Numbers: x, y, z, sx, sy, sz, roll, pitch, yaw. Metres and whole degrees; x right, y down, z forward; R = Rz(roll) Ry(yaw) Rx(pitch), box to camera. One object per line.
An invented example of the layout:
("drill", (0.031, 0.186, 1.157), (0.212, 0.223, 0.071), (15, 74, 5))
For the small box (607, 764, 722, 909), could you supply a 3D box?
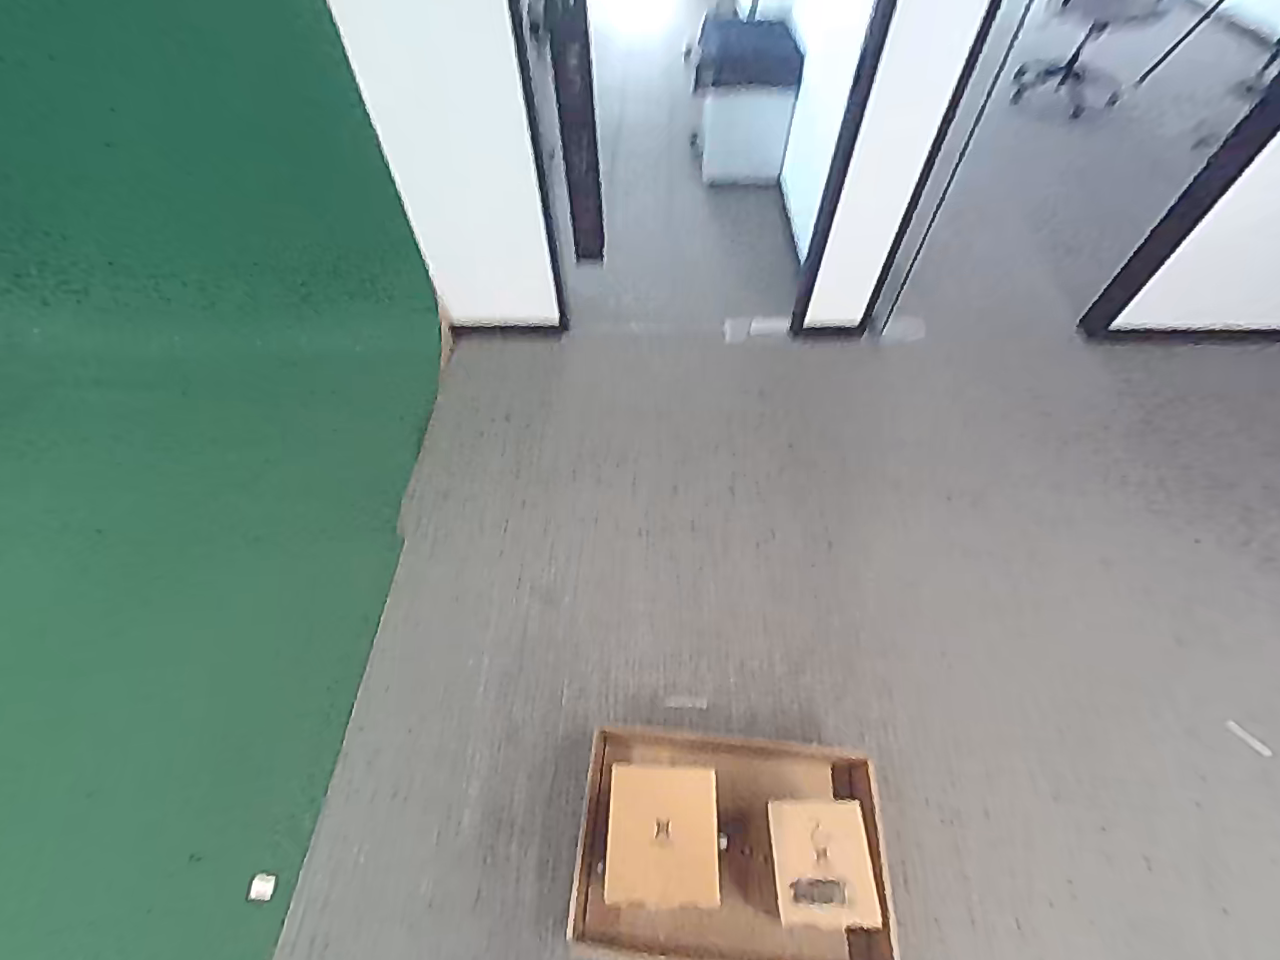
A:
("small box", (0.037, 0.570, 0.868), (0.168, 0.176, 0.179), (1, 55, 2))
